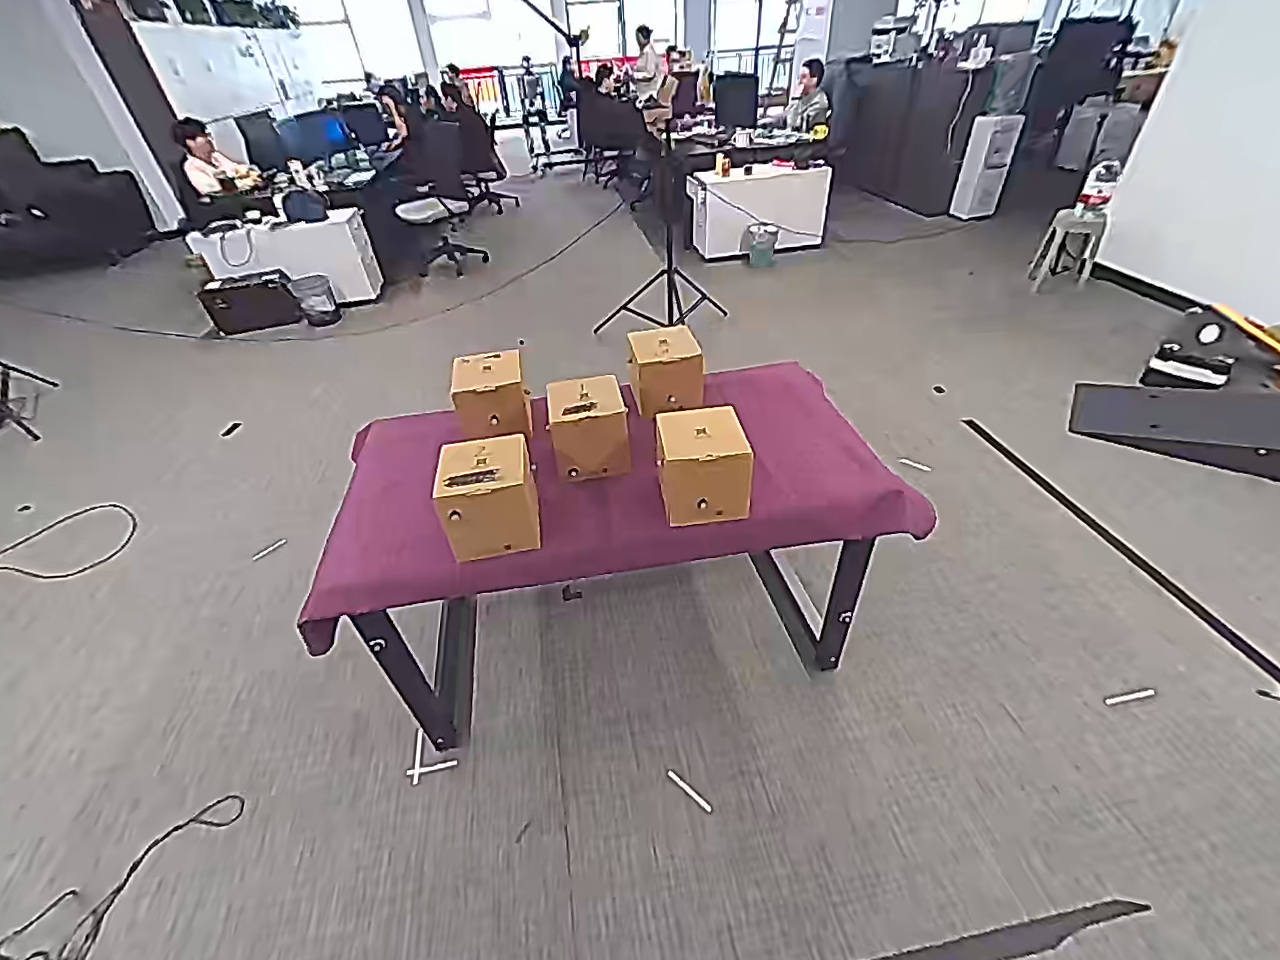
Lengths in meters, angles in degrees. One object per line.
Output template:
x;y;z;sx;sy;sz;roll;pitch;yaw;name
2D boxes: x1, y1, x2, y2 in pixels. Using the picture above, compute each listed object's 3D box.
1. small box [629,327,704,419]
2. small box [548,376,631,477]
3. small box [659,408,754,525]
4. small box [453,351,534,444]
0.068;-0.286;1.440;0.168;0.176;0.179;-10;41;-5;small box
-0.117;-0.119;1.261;0.168;0.176;0.179;-9;39;-5;small box
0.130;-0.029;1.128;0.168;0.176;0.179;-6;39;-2;small box
-0.369;-0.205;1.384;0.168;0.176;0.179;-9;42;-7;small box
